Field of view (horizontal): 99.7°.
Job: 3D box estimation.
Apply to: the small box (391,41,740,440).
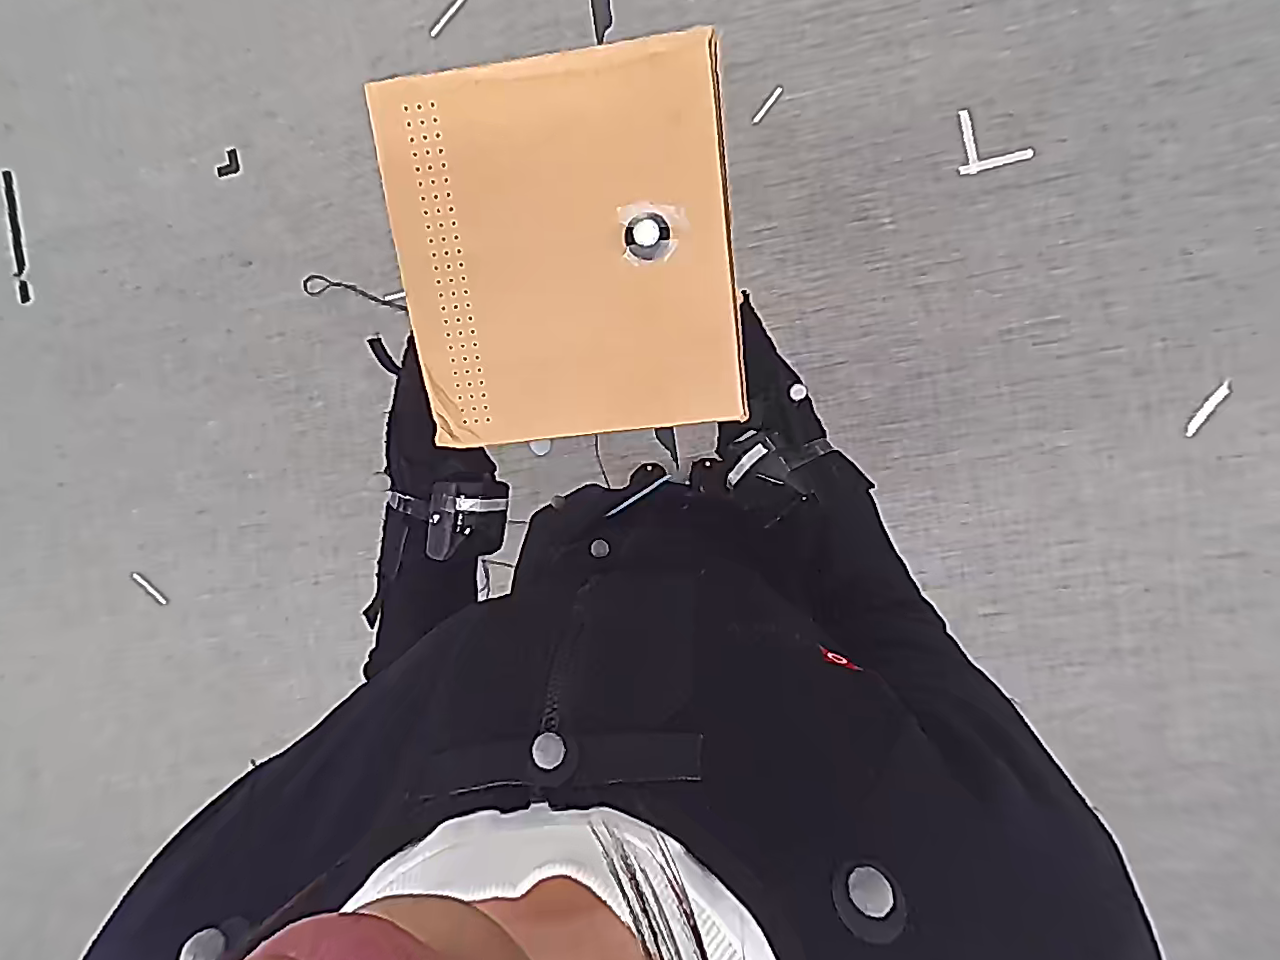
[{"bbox_3d":[-0.035,-0.130,0.352,0.176,0.168,0.179,-6,102,6],"label":"small box"}]
